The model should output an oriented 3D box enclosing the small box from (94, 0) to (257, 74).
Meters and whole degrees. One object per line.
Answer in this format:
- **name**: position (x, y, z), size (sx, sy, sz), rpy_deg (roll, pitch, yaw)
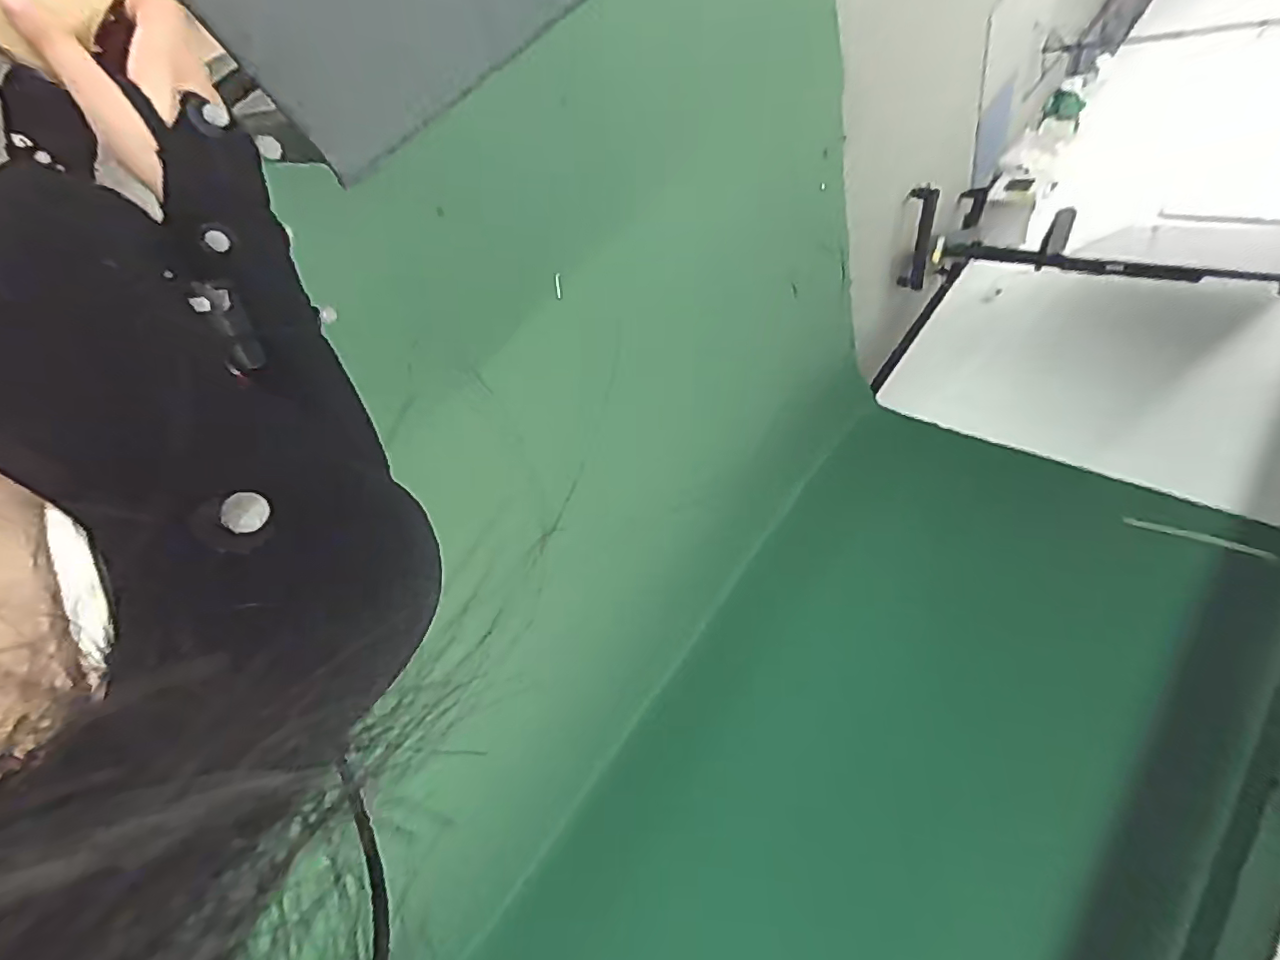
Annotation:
- **small box**: position (-0.797, -0.811, 0.898), size (0.168, 0.176, 0.179), rpy_deg (-46, 141, -19)
